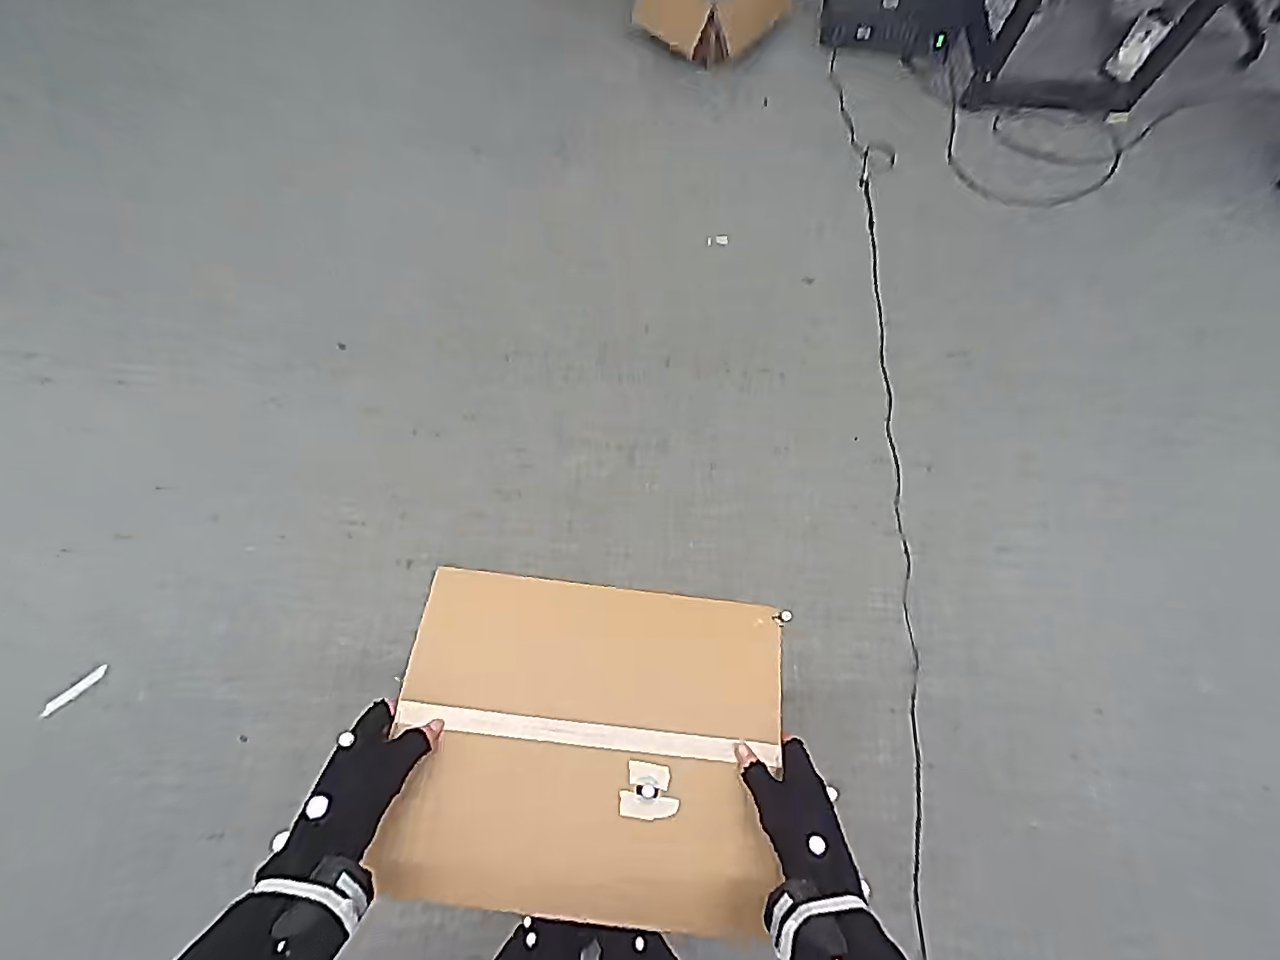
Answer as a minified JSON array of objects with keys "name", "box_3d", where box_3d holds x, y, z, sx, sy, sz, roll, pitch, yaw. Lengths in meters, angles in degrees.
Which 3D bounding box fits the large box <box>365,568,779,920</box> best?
[{"name":"large box","box_3d":[-0.062,0.327,0.709,0.408,0.320,0.320,7,64,-1]}]
